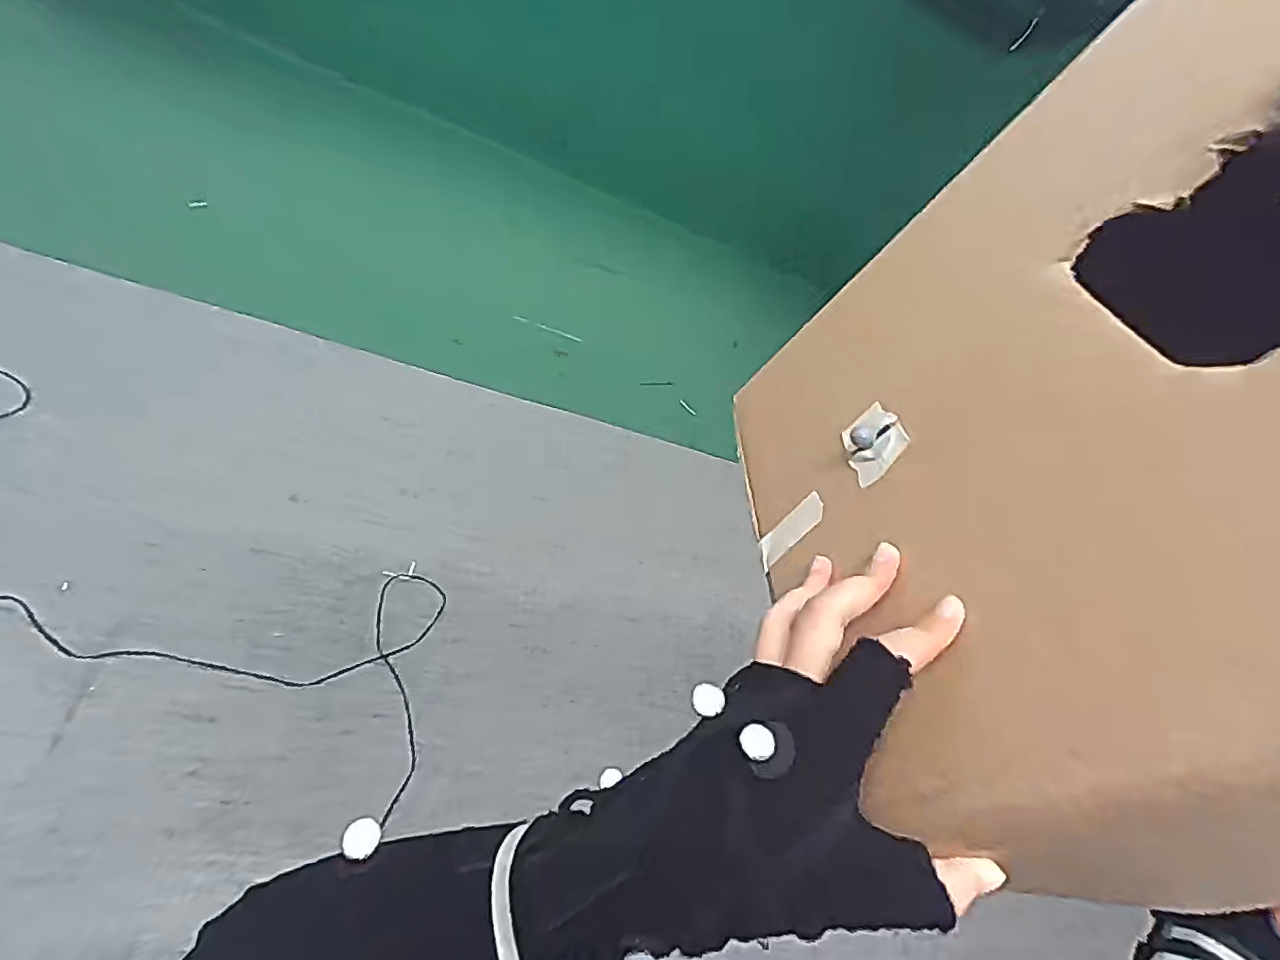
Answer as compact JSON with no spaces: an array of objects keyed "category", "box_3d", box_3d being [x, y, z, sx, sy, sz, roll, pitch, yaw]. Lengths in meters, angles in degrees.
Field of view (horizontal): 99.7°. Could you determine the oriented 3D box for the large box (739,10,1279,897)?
[{"category":"large box","box_3d":[0.326,0.040,0.331,0.408,0.320,0.320,26,41,-26]}]
